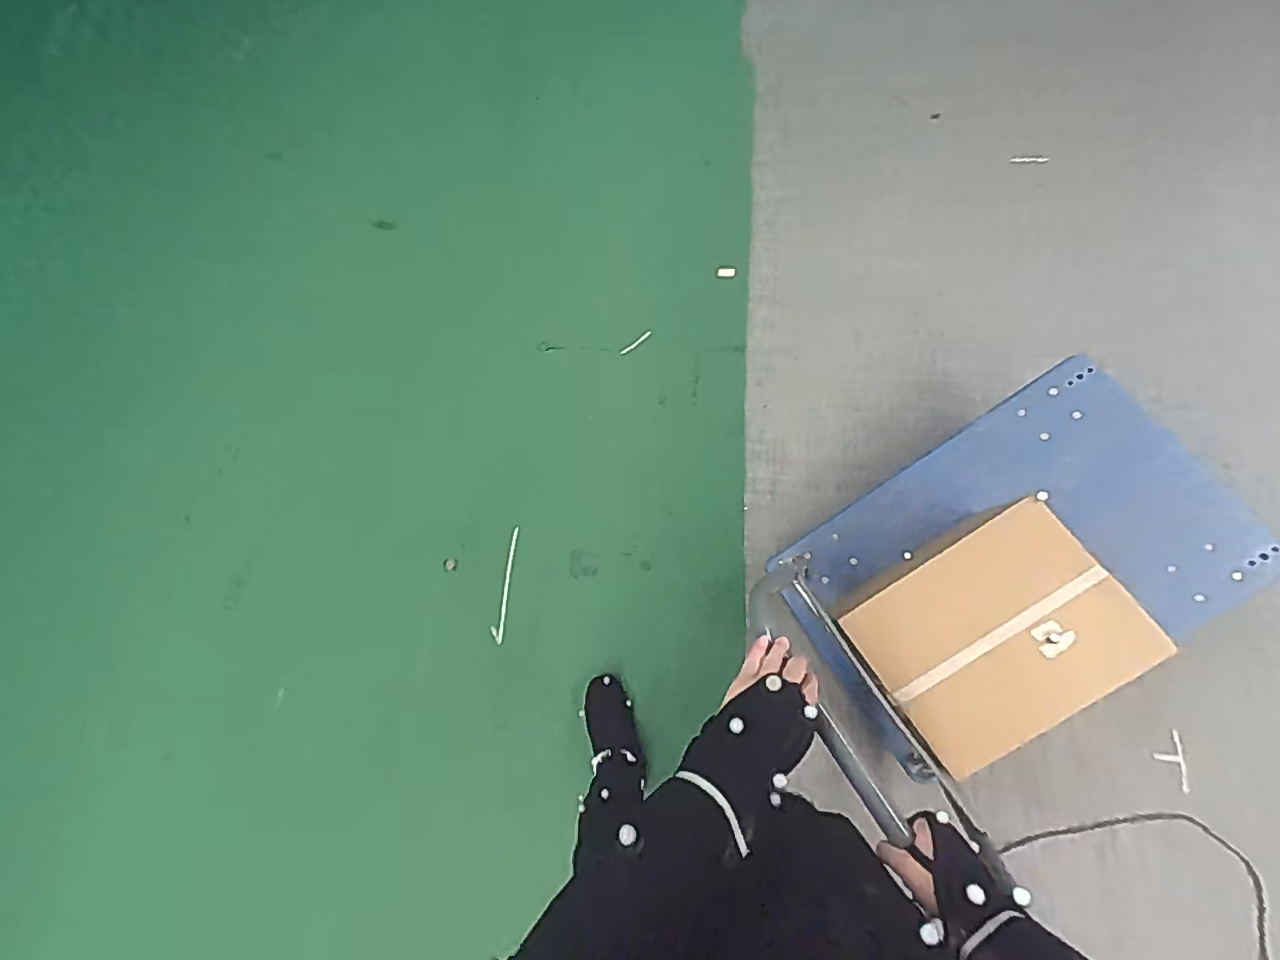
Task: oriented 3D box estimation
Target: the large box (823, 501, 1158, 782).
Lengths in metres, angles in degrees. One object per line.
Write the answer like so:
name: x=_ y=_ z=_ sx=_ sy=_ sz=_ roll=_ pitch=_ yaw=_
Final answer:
large box: x=0.629 y=0.302 z=1.068 sx=0.408 sy=0.320 sz=0.320 roll=-35 pitch=73 yaw=5
